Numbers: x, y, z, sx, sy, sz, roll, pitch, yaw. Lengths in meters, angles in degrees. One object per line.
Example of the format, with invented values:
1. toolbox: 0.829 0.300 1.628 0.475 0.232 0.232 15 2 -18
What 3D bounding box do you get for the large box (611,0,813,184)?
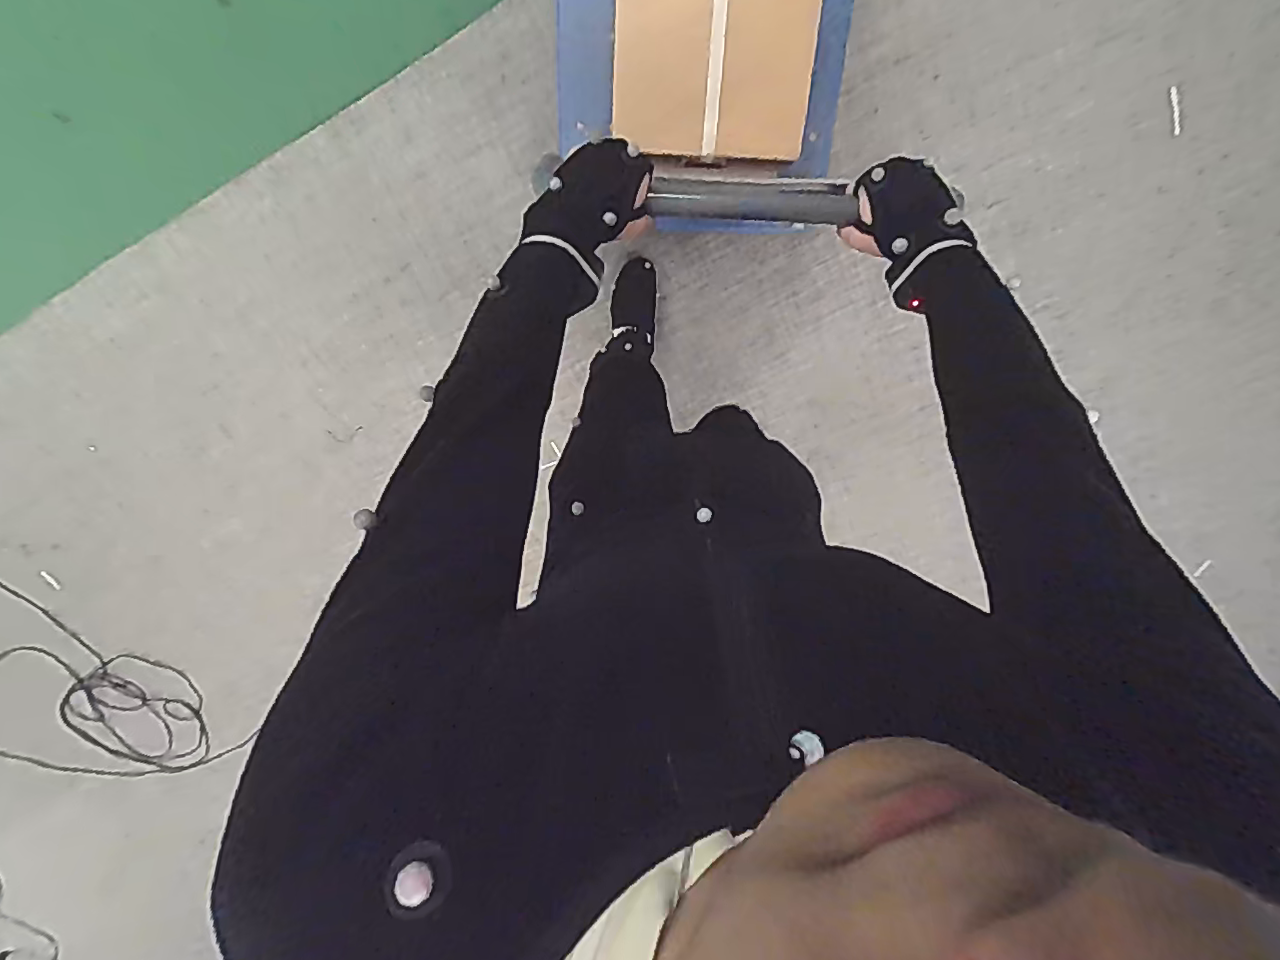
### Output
1. large box: 0.115 -0.782 0.975 0.320 0.320 0.408 3 112 -1
